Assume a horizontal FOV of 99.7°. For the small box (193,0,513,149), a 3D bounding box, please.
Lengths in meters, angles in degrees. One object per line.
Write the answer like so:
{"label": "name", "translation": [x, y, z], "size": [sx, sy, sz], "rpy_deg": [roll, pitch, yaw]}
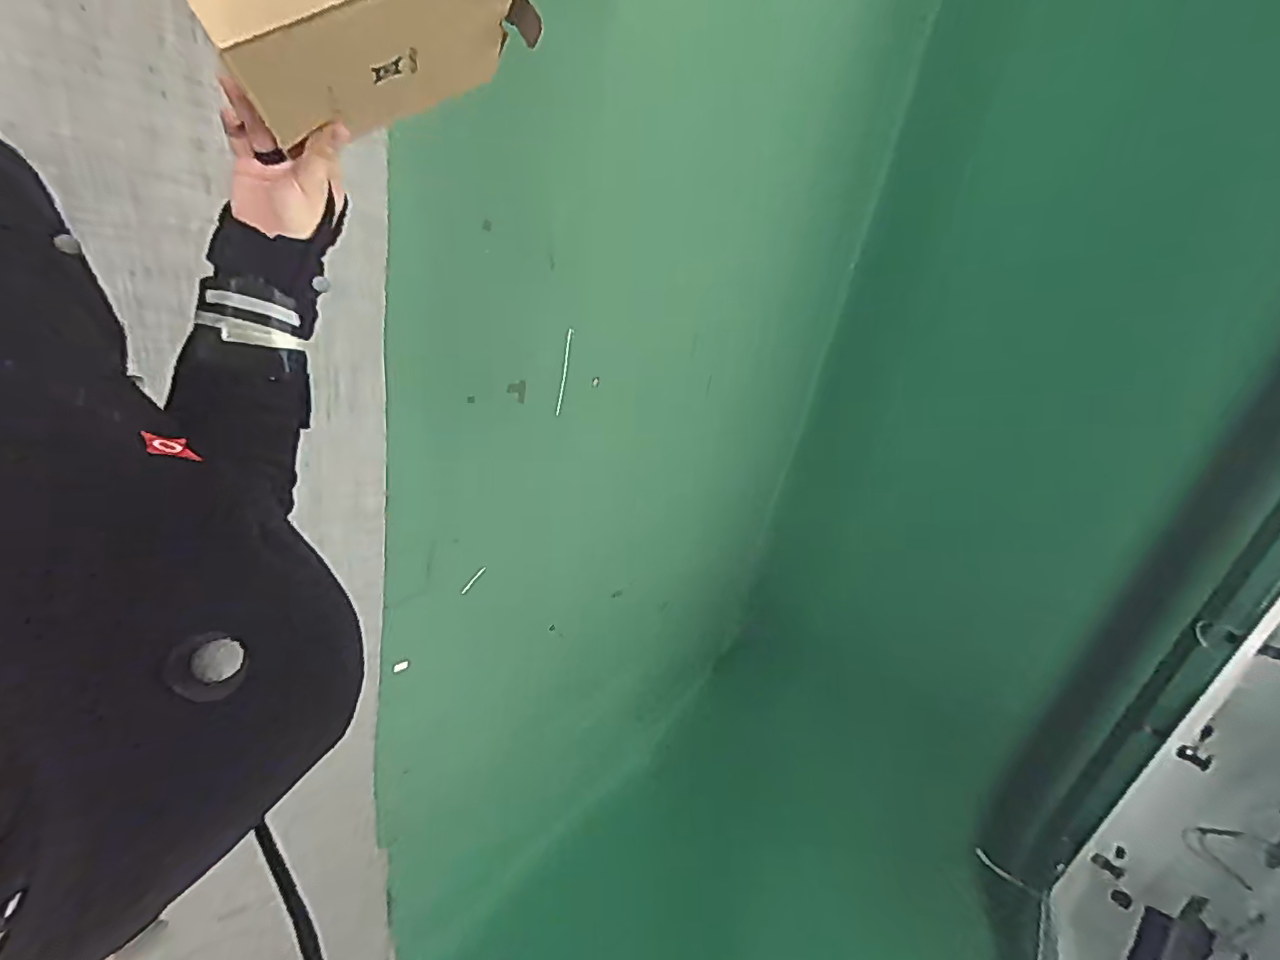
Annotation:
{"label": "small box", "translation": [-0.190, -0.337, 0.311], "size": [0.179, 0.168, 0.176], "rpy_deg": [-33, 112, -12]}
